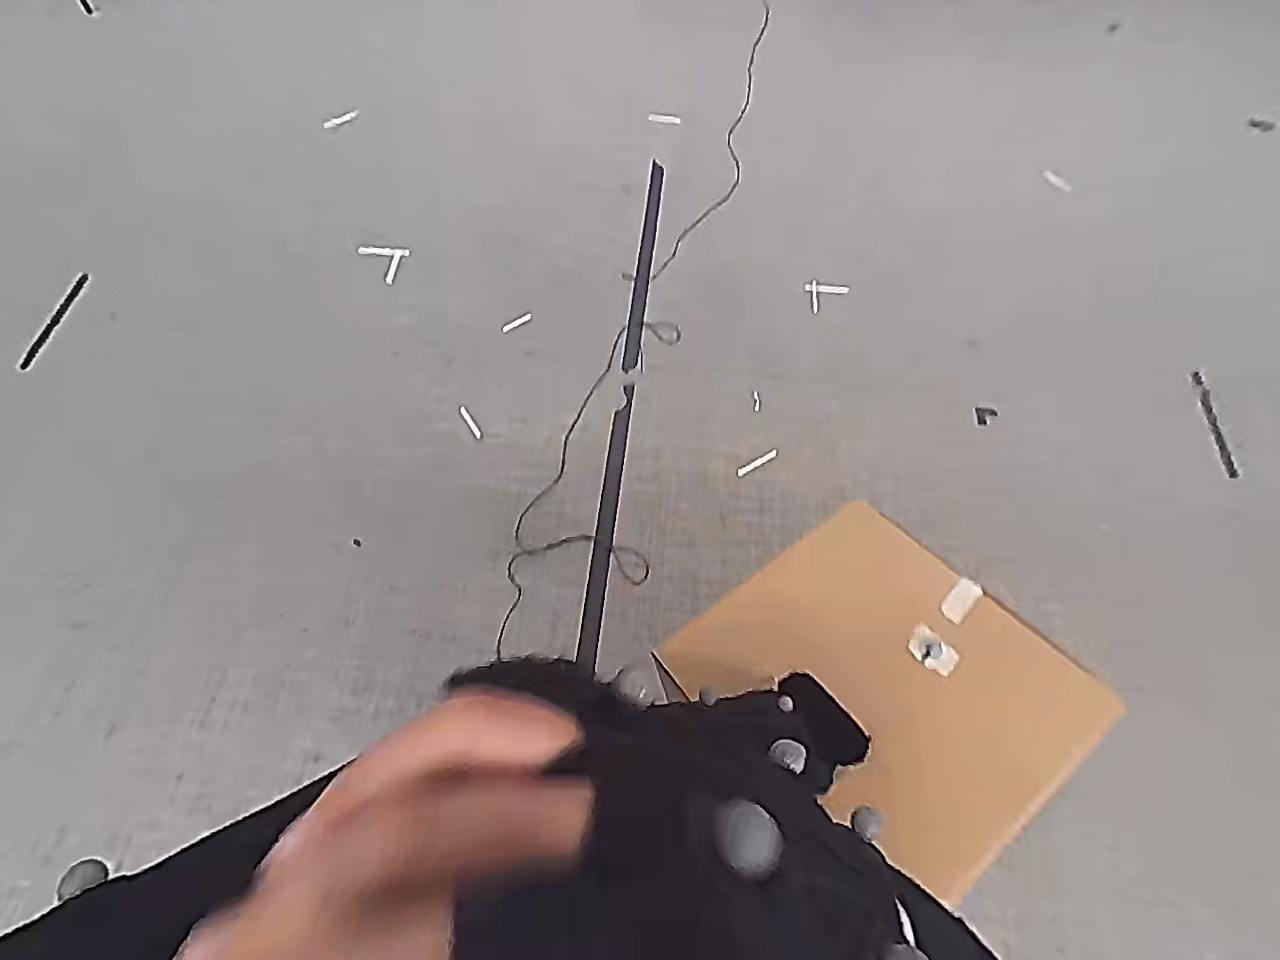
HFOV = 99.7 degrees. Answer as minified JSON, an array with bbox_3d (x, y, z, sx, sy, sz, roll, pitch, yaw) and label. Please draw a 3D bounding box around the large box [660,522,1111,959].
[{"bbox_3d":[0.258,0.331,0.684,0.320,0.408,0.320,-32,53,-14],"label":"large box"}]
